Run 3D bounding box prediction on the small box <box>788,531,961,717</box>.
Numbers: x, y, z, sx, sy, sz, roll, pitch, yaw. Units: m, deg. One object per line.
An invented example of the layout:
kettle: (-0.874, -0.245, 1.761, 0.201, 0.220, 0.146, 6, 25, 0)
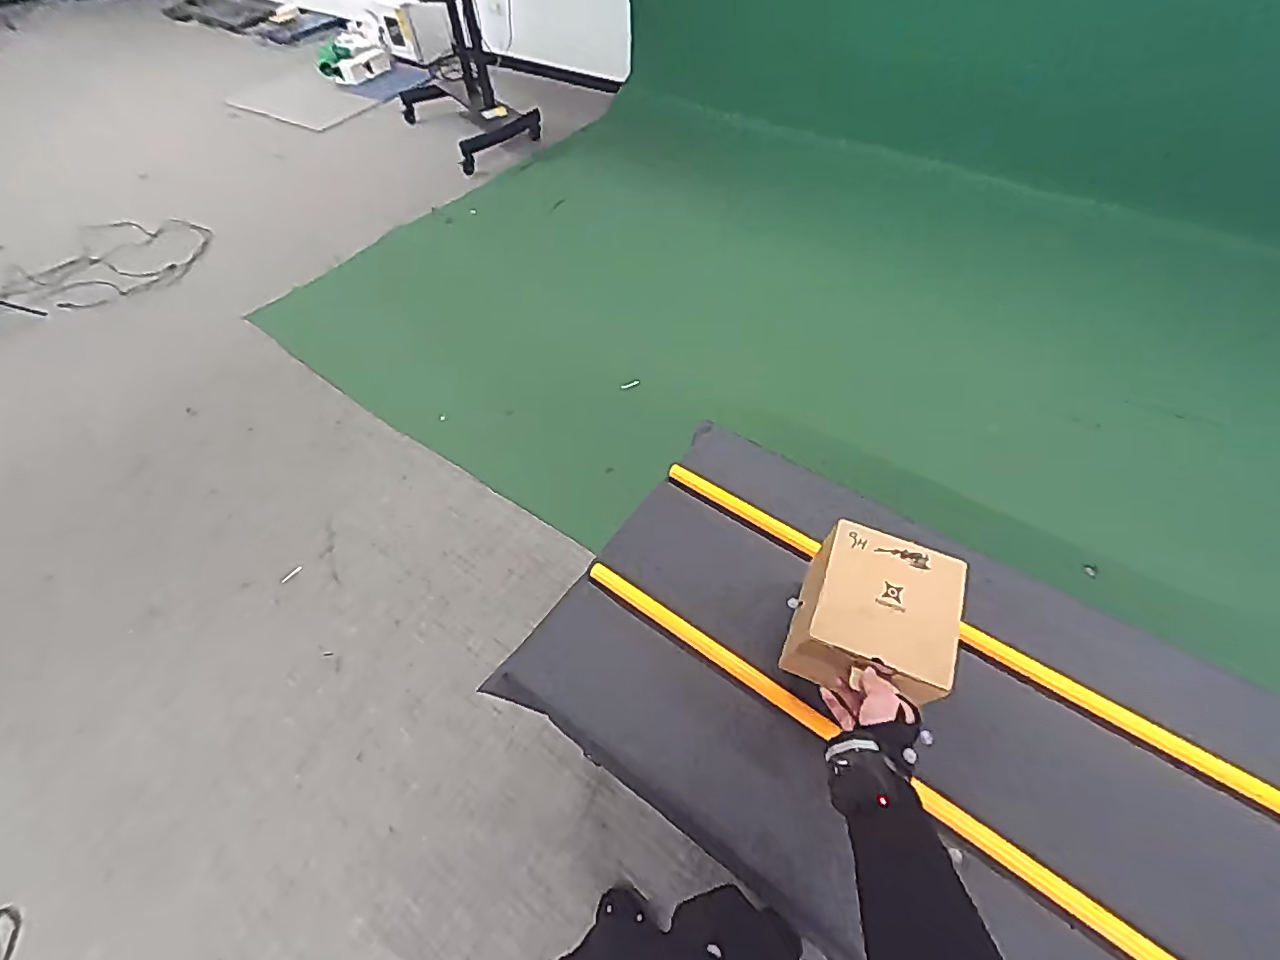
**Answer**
small box: (0.309, 0.202, 0.739, 0.168, 0.176, 0.179, 17, 60, 13)
